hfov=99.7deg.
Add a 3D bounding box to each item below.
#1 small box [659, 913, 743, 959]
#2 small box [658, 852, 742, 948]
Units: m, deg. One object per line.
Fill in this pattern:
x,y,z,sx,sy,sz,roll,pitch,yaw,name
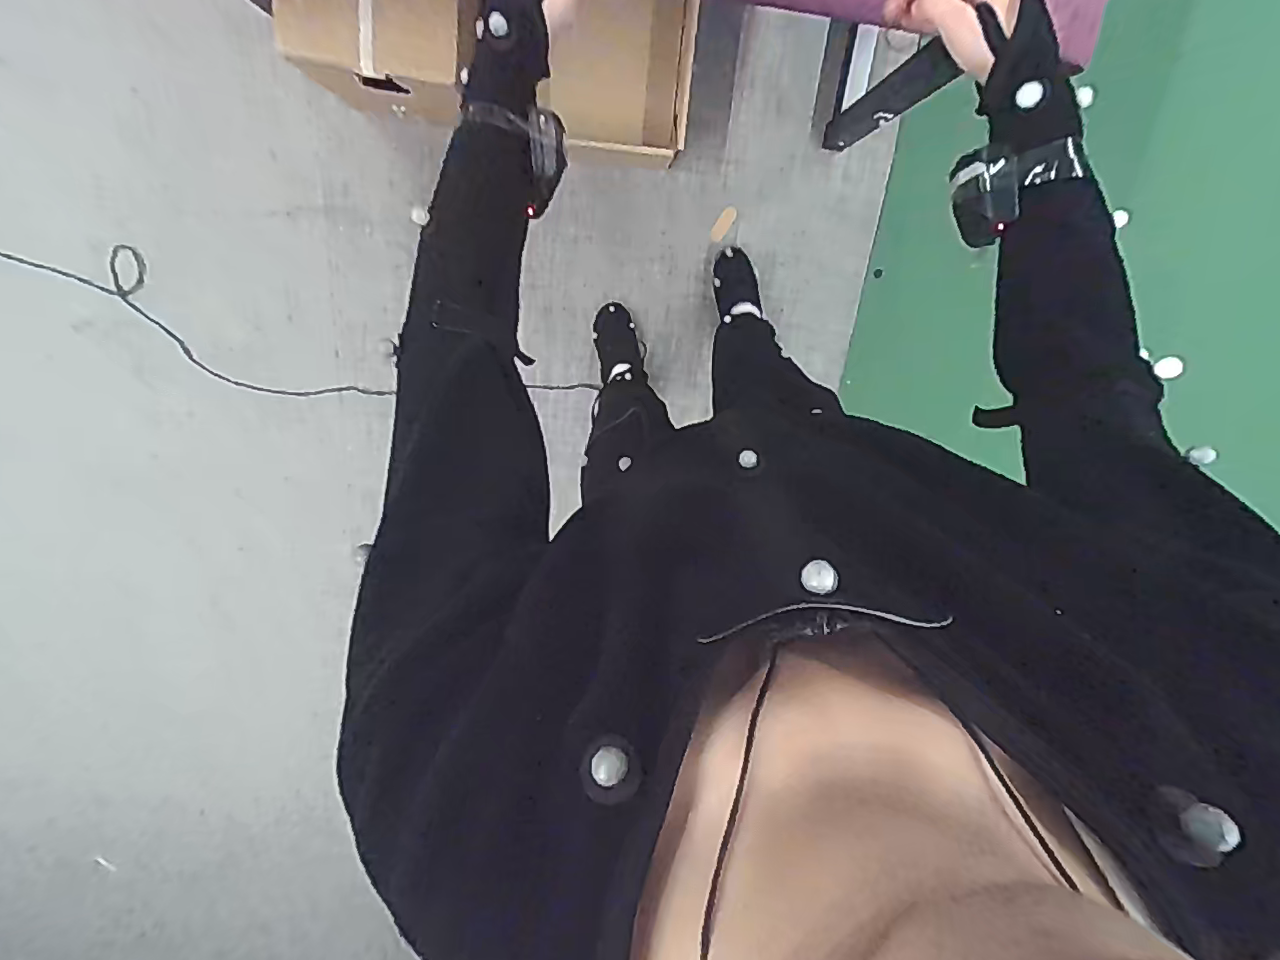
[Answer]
0.163,1.247,1.359,0.168,0.176,0.179,-33,106,7,small box
0.163,1.199,1.515,0.168,0.176,0.179,-30,106,7,small box
